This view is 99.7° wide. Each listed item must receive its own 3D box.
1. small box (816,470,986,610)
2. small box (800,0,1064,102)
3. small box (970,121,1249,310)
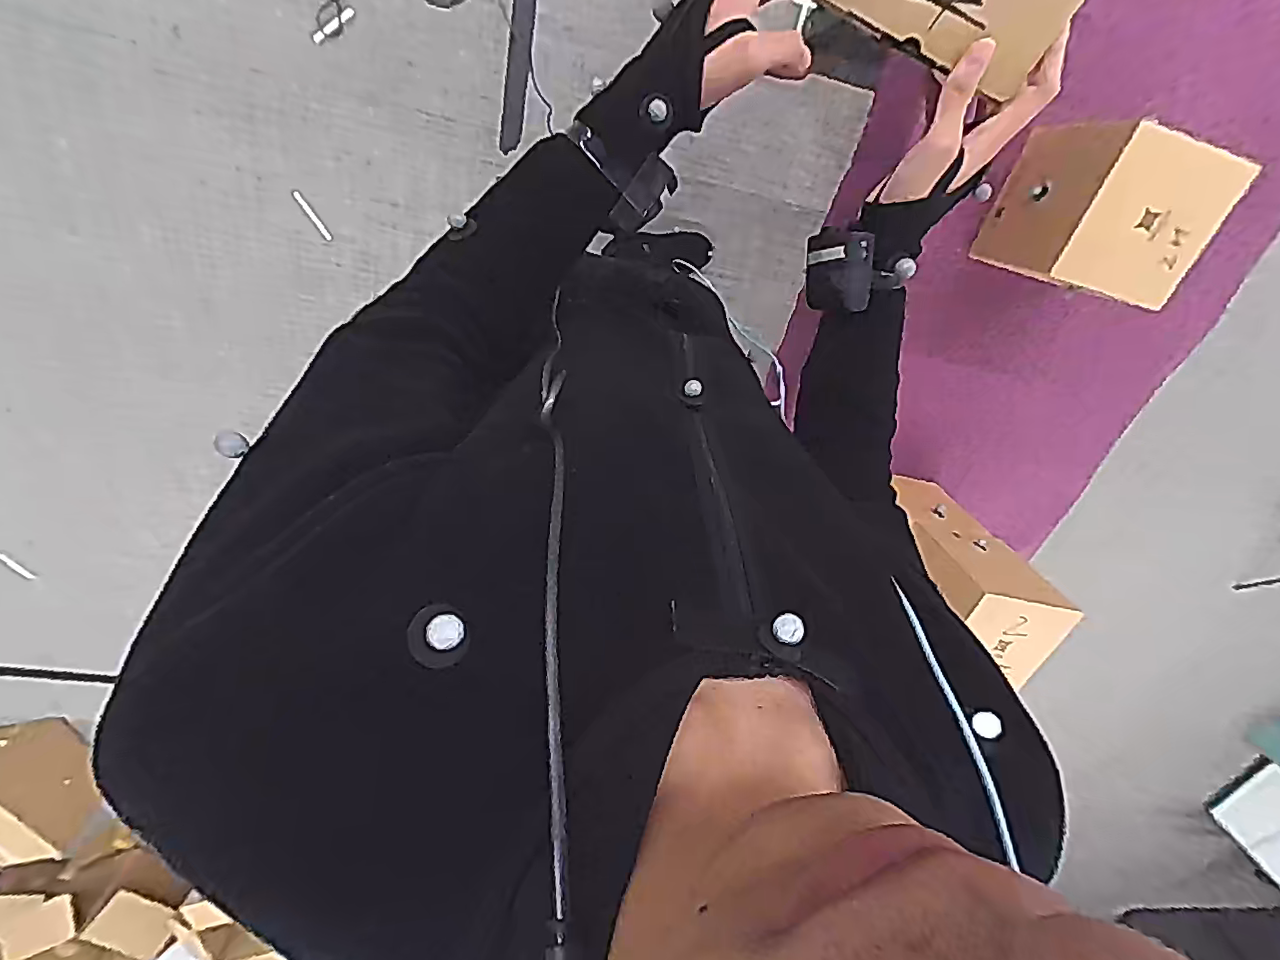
[{"bbox_3d":[0.438,0.098,0.944,0.179,0.176,0.168,11,118,-13],"label":"small box"},{"bbox_3d":[0.216,-0.406,0.372,0.168,0.176,0.179,20,133,-10],"label":"small box"},{"bbox_3d":[0.583,-0.340,0.703,0.179,0.176,0.168,12,119,-12],"label":"small box"}]
